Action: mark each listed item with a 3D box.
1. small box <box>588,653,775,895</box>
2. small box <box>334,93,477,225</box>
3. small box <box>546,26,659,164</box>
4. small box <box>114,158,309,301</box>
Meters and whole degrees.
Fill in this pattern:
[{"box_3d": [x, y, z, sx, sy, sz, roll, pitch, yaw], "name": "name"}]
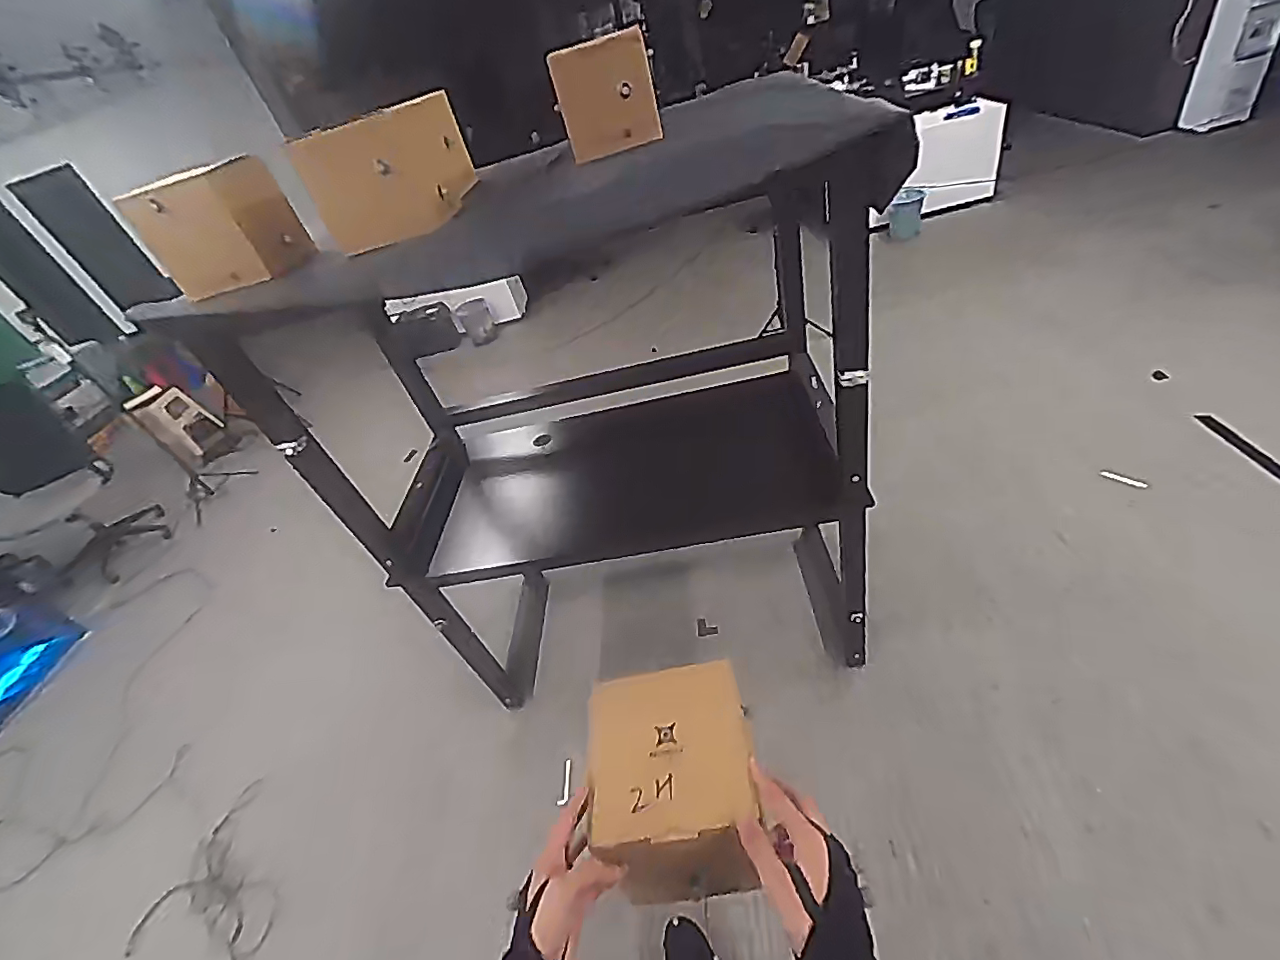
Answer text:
[{"box_3d": [0.047, 0.329, 0.610, 0.168, 0.176, 0.179, -14, 36, 7], "name": "small box"}, {"box_3d": [-0.451, -0.635, 1.074, 0.179, 0.176, 0.168, -11, 40, 10], "name": "small box"}, {"box_3d": [-0.062, -0.710, 1.005, 0.168, 0.176, 0.179, -12, 40, 8], "name": "small box"}, {"box_3d": [-0.720, -0.434, 0.939, 0.168, 0.176, 0.179, -12, 39, 7], "name": "small box"}]
